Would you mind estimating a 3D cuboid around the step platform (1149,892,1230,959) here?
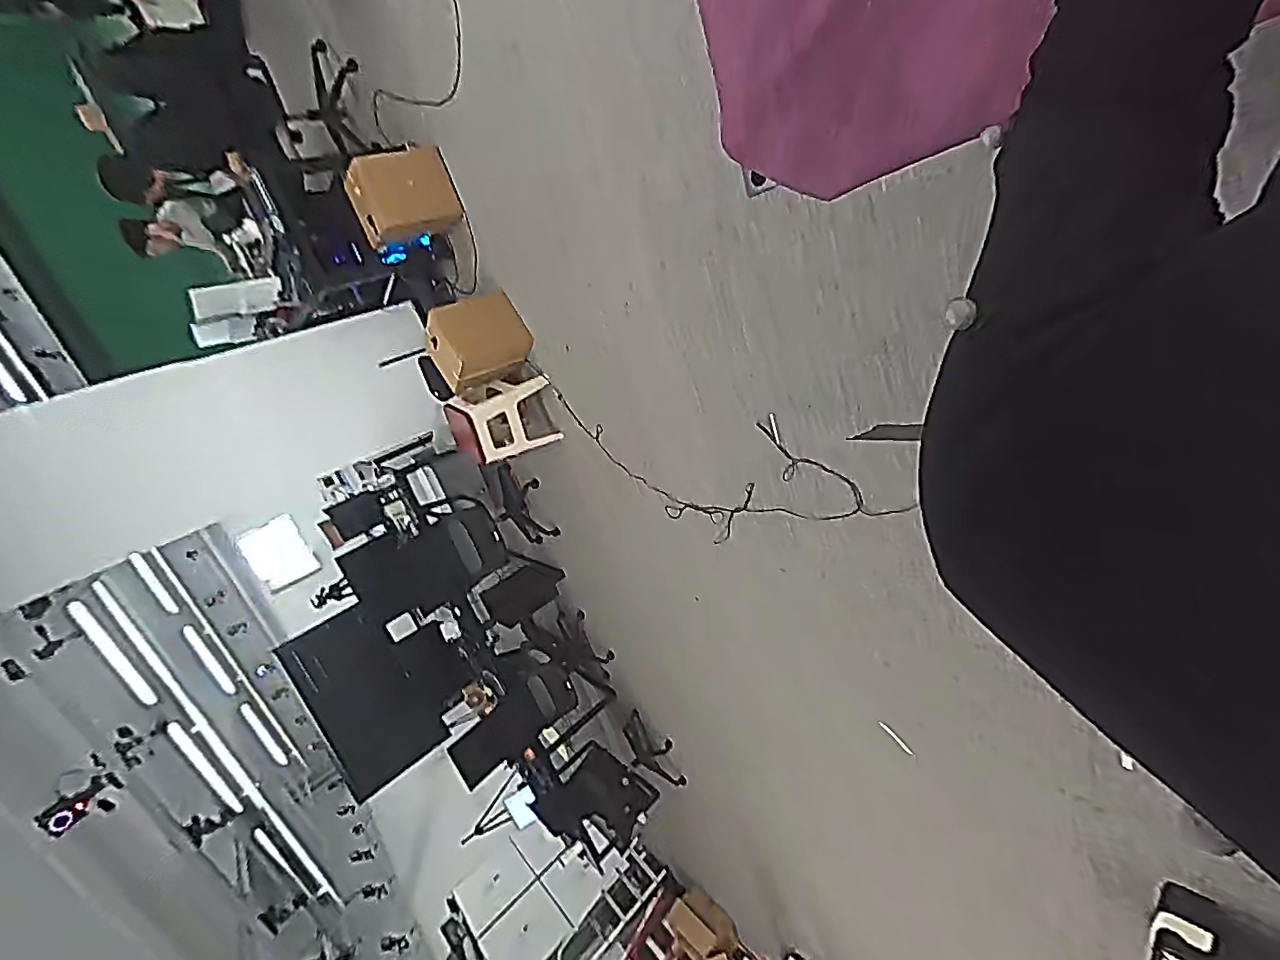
[{"bbox_3d":[1.681,1.356,1.287,0.684,0.204,0.286,6,121,51],"label":"step platform"}]
